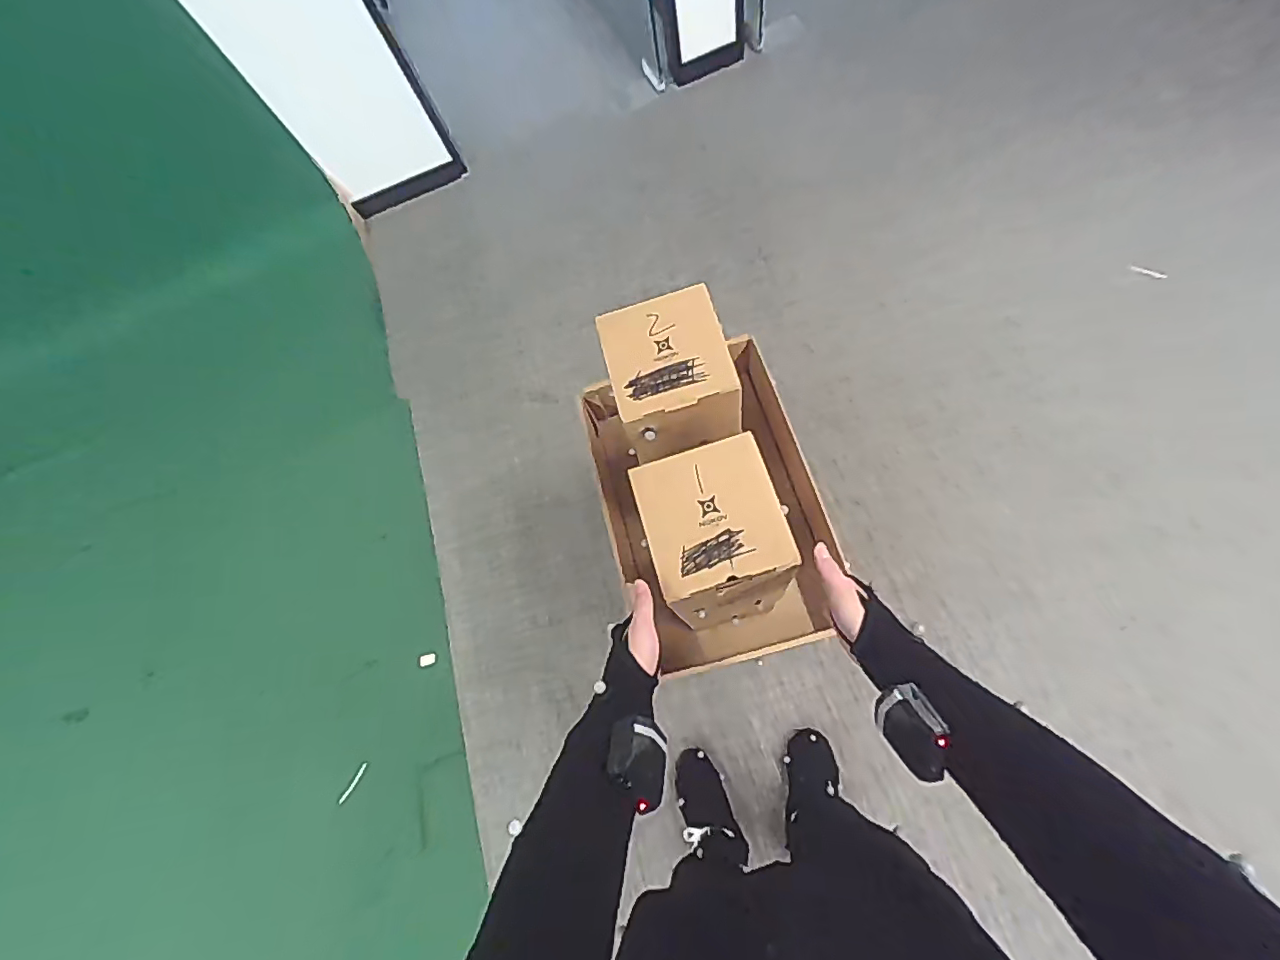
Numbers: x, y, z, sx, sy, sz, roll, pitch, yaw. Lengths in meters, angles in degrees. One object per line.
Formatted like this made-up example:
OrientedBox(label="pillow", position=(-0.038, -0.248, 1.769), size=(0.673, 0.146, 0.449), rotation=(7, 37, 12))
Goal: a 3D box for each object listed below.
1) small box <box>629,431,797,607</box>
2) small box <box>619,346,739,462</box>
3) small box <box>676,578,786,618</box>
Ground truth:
OrientedBox(label="small box", position=(0.097, 0.064, 0.725), size=(0.168, 0.176, 0.179), rotation=(-17, 68, 3))
OrientedBox(label="small box", position=(0.072, -0.105, 0.969), size=(0.168, 0.176, 0.179), rotation=(-17, 71, 4))
OrientedBox(label="small box", position=(0.128, 0.119, 0.876), size=(0.168, 0.176, 0.179), rotation=(-16, 68, 4))
